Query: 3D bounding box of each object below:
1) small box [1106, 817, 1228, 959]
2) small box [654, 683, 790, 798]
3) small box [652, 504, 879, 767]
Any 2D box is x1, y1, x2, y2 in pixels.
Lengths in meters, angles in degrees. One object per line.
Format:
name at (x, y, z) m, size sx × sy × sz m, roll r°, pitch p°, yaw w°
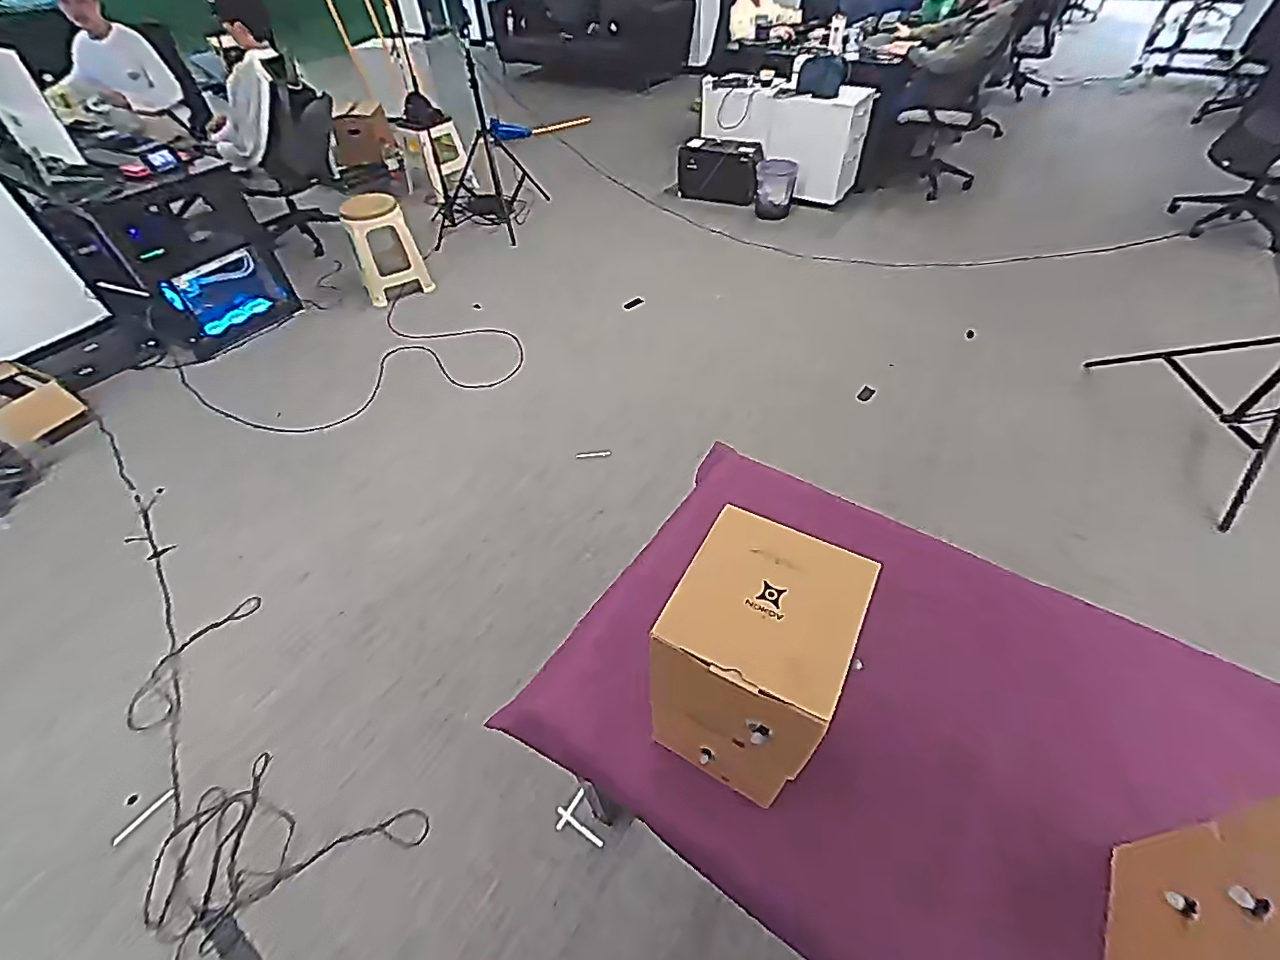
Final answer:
small box at (0.573, 0.461, 0.497) m, size 0.168 × 0.176 × 0.179 m, roll 26°, pitch 53°, yaw 24°
small box at (0.132, 0.267, 0.690) m, size 0.168 × 0.176 × 0.179 m, roll 23°, pitch 52°, yaw 21°
small box at (0.125, 0.163, 0.565) m, size 0.168 × 0.176 × 0.179 m, roll 22°, pitch 51°, yaw 19°
